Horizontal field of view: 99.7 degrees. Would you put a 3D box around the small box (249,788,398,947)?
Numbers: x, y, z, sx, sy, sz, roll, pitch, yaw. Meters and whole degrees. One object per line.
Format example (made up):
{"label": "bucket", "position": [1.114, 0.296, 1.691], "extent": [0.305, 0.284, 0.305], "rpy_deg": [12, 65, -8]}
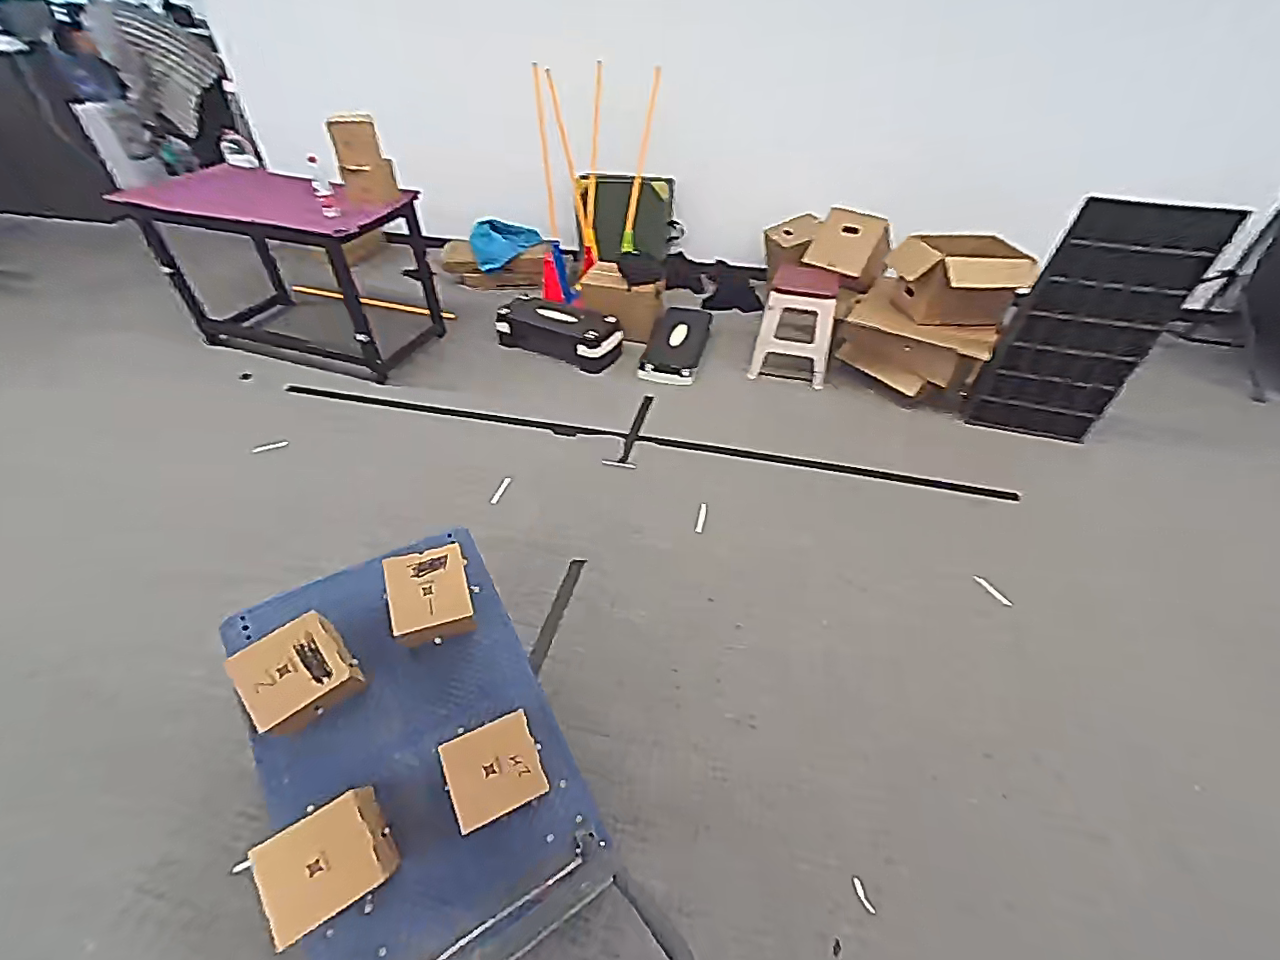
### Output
{"label": "small box", "position": [-0.578, 0.704, 1.006], "extent": [0.179, 0.176, 0.168], "rpy_deg": [-25, 71, -26]}

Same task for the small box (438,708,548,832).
{"label": "small box", "position": [-0.304, 0.600, 1.129], "extent": [0.179, 0.176, 0.168], "rpy_deg": [-17, 69, -22]}

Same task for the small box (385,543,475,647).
{"label": "small box", "position": [-0.483, 0.269, 1.257], "extent": [0.168, 0.176, 0.179], "rpy_deg": [-12, 68, -20]}
